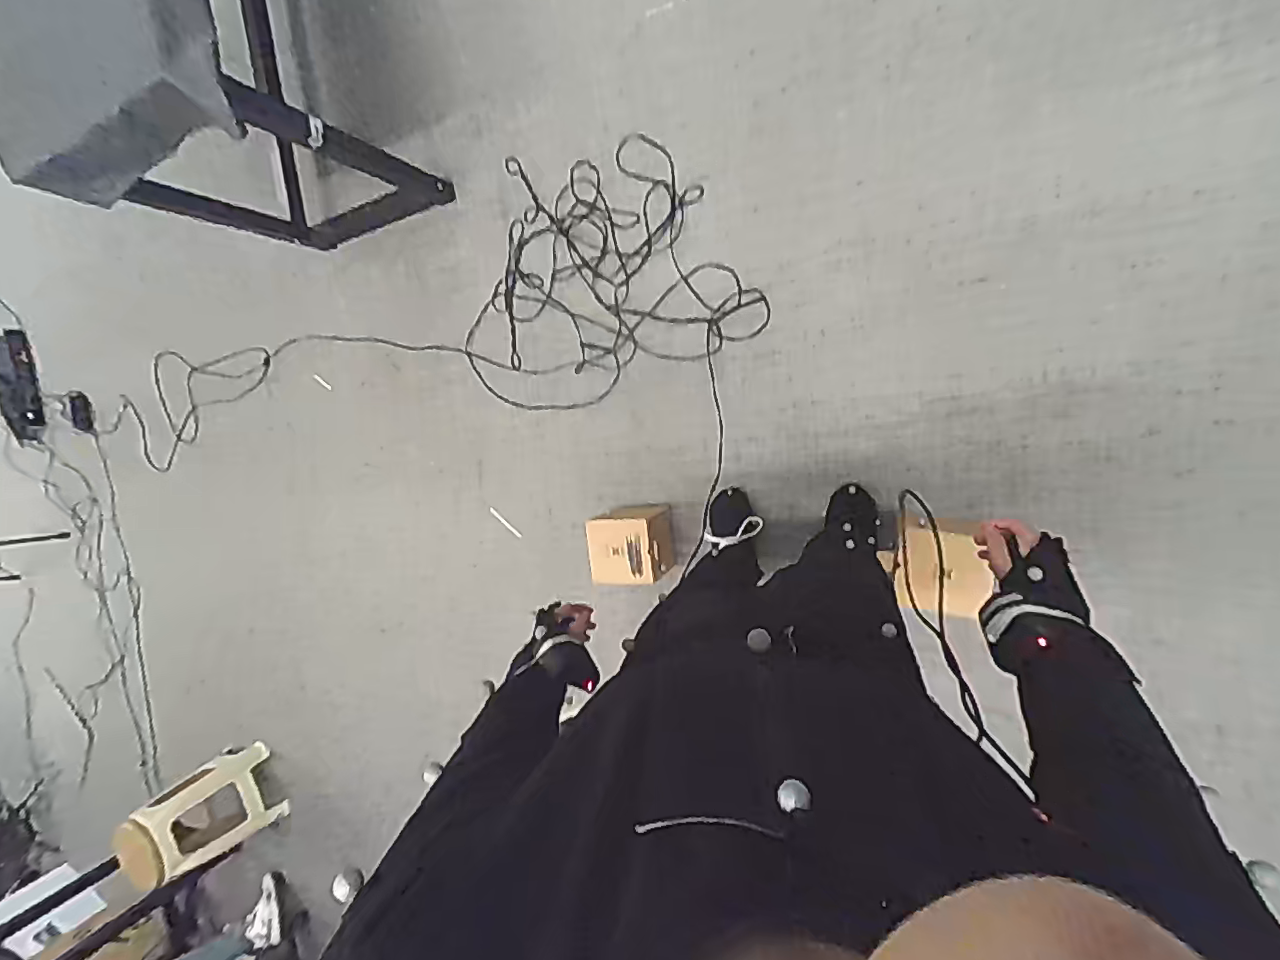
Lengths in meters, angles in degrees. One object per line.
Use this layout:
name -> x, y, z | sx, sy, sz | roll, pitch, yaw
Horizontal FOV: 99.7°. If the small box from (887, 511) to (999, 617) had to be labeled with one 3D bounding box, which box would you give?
small box -> 0.629, 0.167, 1.142 | 0.179, 0.176, 0.168 | 7, 102, 23
